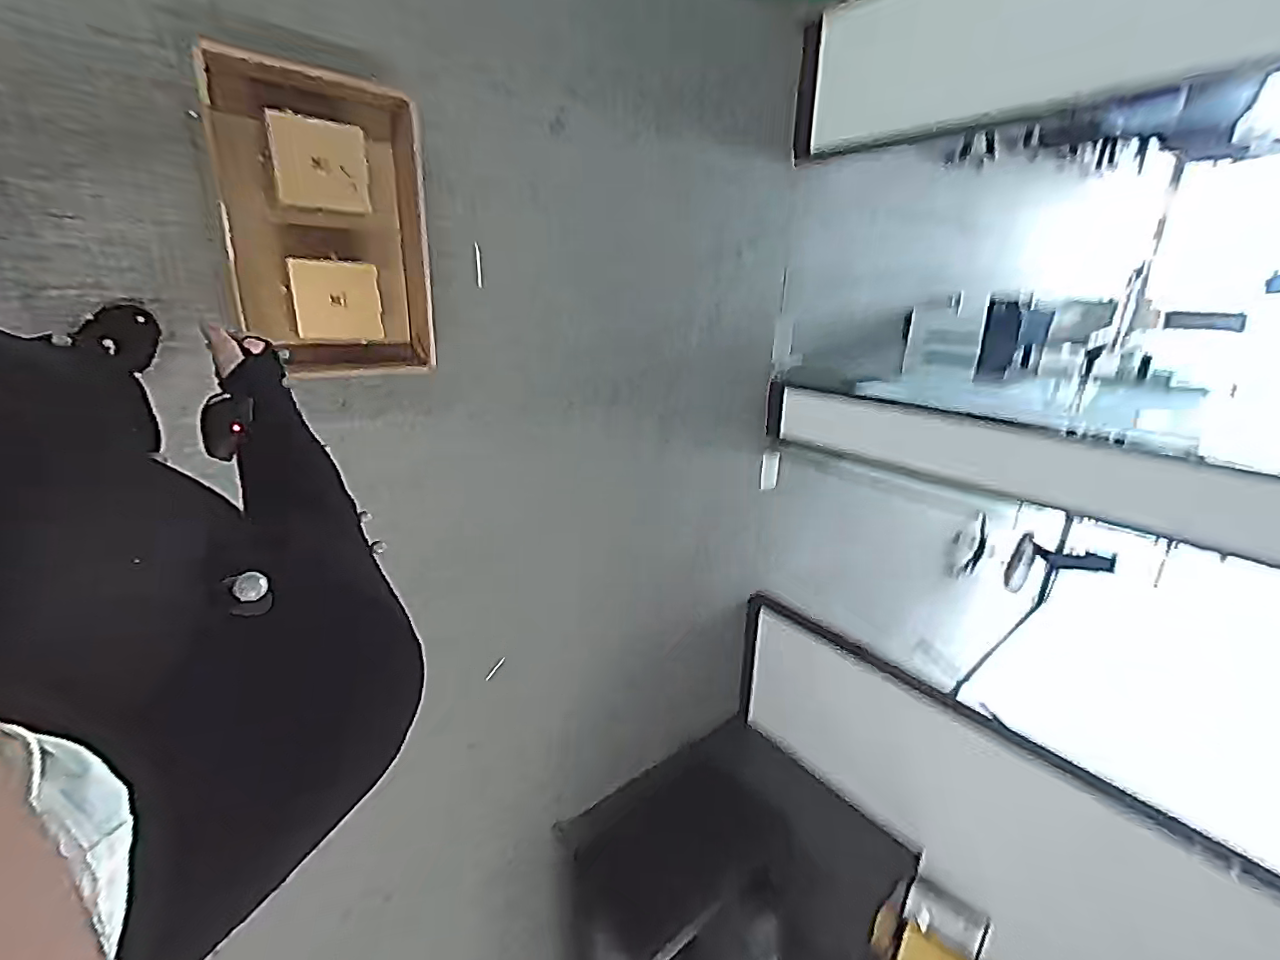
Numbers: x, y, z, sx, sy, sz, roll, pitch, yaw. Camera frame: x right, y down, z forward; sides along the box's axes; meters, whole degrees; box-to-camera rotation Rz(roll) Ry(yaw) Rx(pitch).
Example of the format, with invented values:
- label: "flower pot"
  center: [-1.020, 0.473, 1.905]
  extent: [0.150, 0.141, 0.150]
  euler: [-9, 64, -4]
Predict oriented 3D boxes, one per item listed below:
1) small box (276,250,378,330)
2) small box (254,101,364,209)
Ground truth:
- label: "small box"
  center: [-0.739, -0.442, 1.270]
  extent: [0.179, 0.176, 0.168]
  euler: [-14, 115, -38]
- label: "small box"
  center: [-0.724, -0.694, 1.179]
  extent: [0.179, 0.176, 0.168]
  euler: [-12, 116, -38]
